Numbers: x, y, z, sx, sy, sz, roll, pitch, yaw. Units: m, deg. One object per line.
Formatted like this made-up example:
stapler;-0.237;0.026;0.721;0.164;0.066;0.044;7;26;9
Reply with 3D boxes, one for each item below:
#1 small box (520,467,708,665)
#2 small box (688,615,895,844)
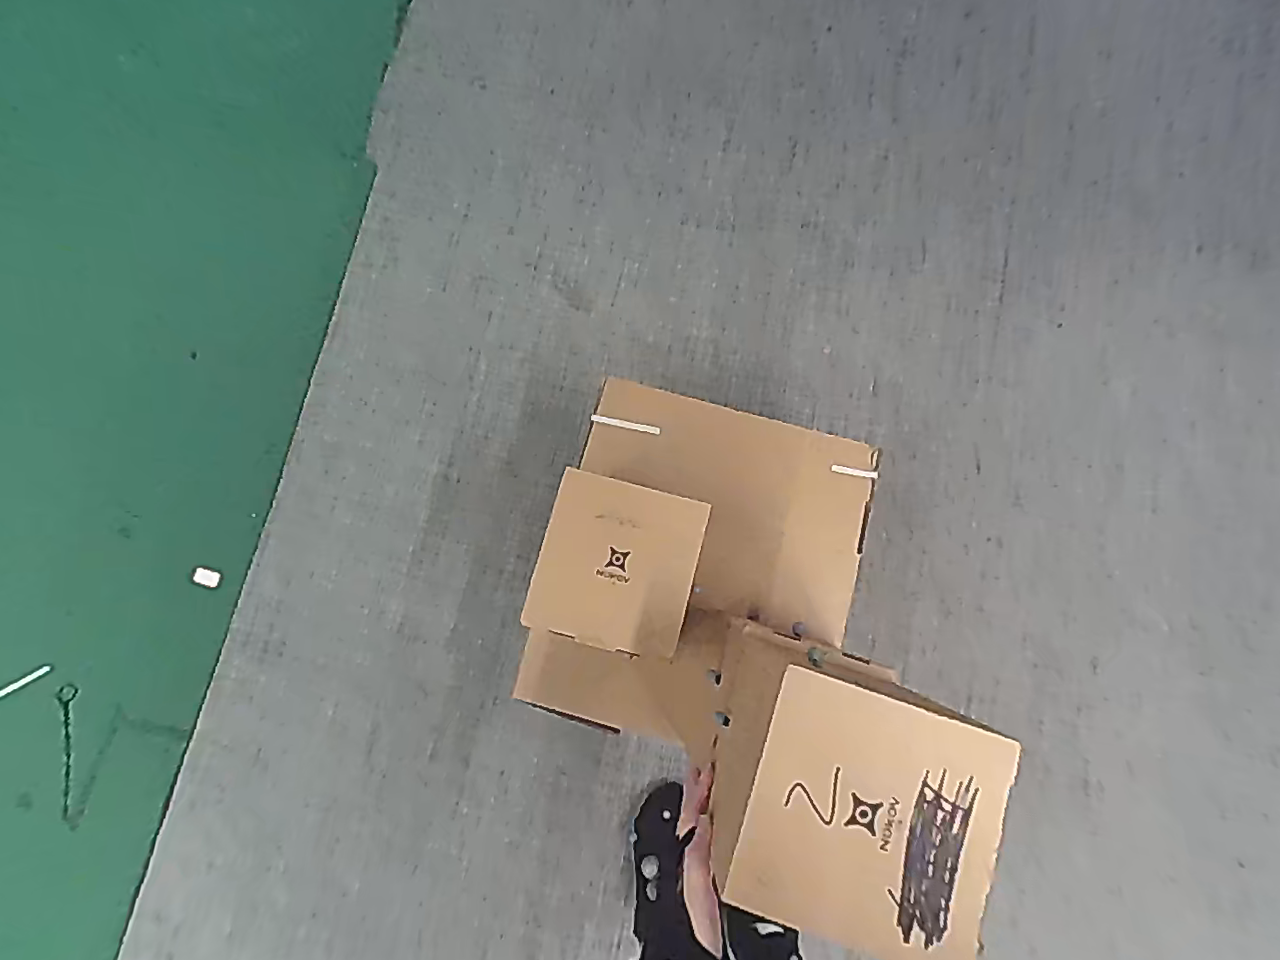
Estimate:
small box;-0.024;0.103;0.650;0.168;0.176;0.179;15;79;3
small box;0.158;0.263;0.618;0.168;0.176;0.179;17;80;3
